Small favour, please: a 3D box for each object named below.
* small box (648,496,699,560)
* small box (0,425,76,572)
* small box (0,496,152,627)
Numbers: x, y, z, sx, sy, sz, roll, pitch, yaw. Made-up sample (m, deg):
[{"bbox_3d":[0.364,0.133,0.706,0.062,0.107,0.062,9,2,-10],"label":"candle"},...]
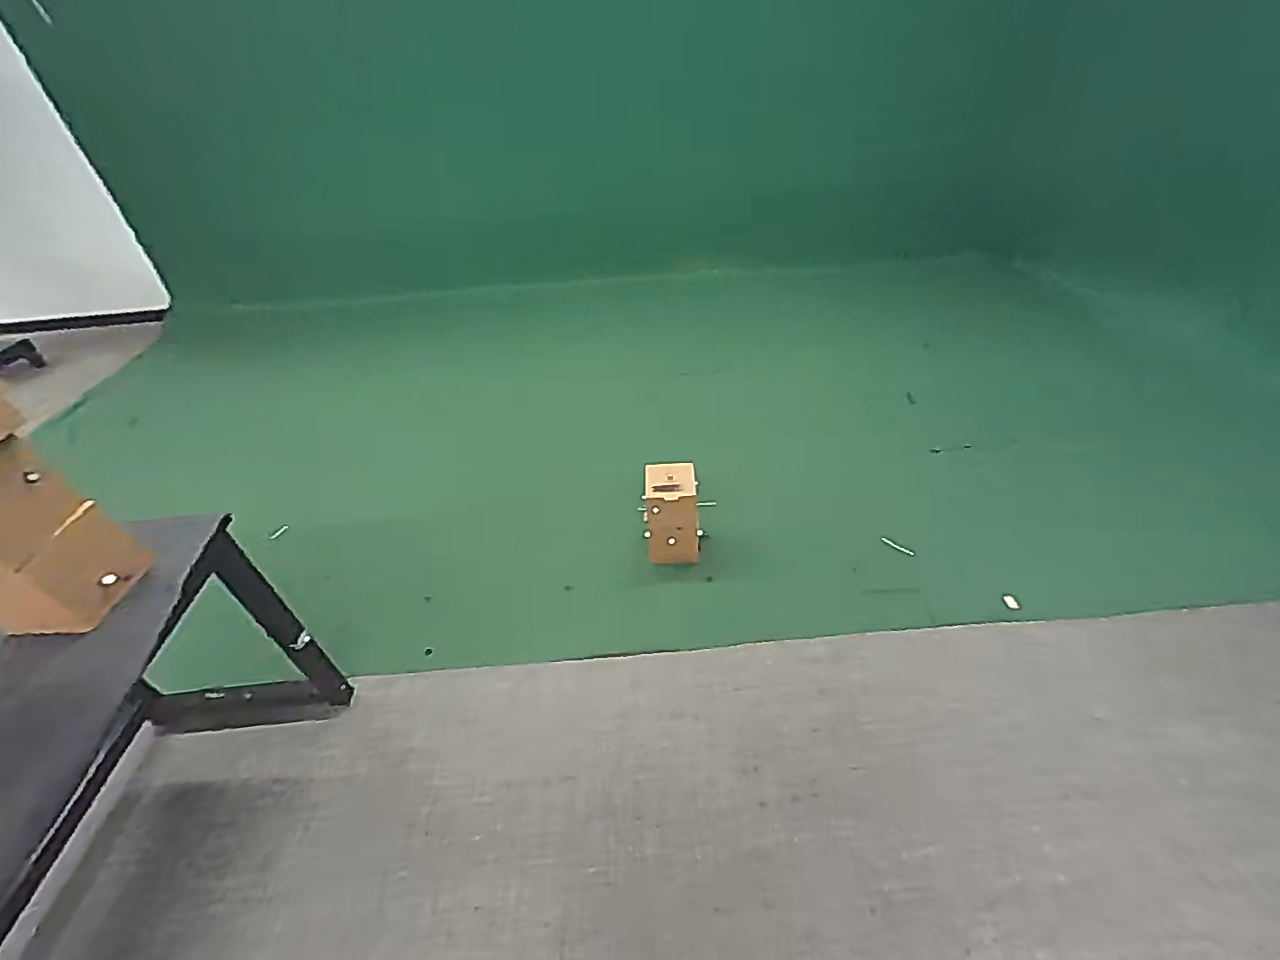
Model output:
[{"bbox_3d":[0.119,0.175,1.960,0.179,0.176,0.168,-2,41,2],"label":"small box"},{"bbox_3d":[-1.066,0.033,0.847,0.168,0.176,0.179,-9,42,0],"label":"small box"},{"bbox_3d":[-1.052,0.147,0.962,0.179,0.176,0.168,-2,42,5],"label":"small box"}]
